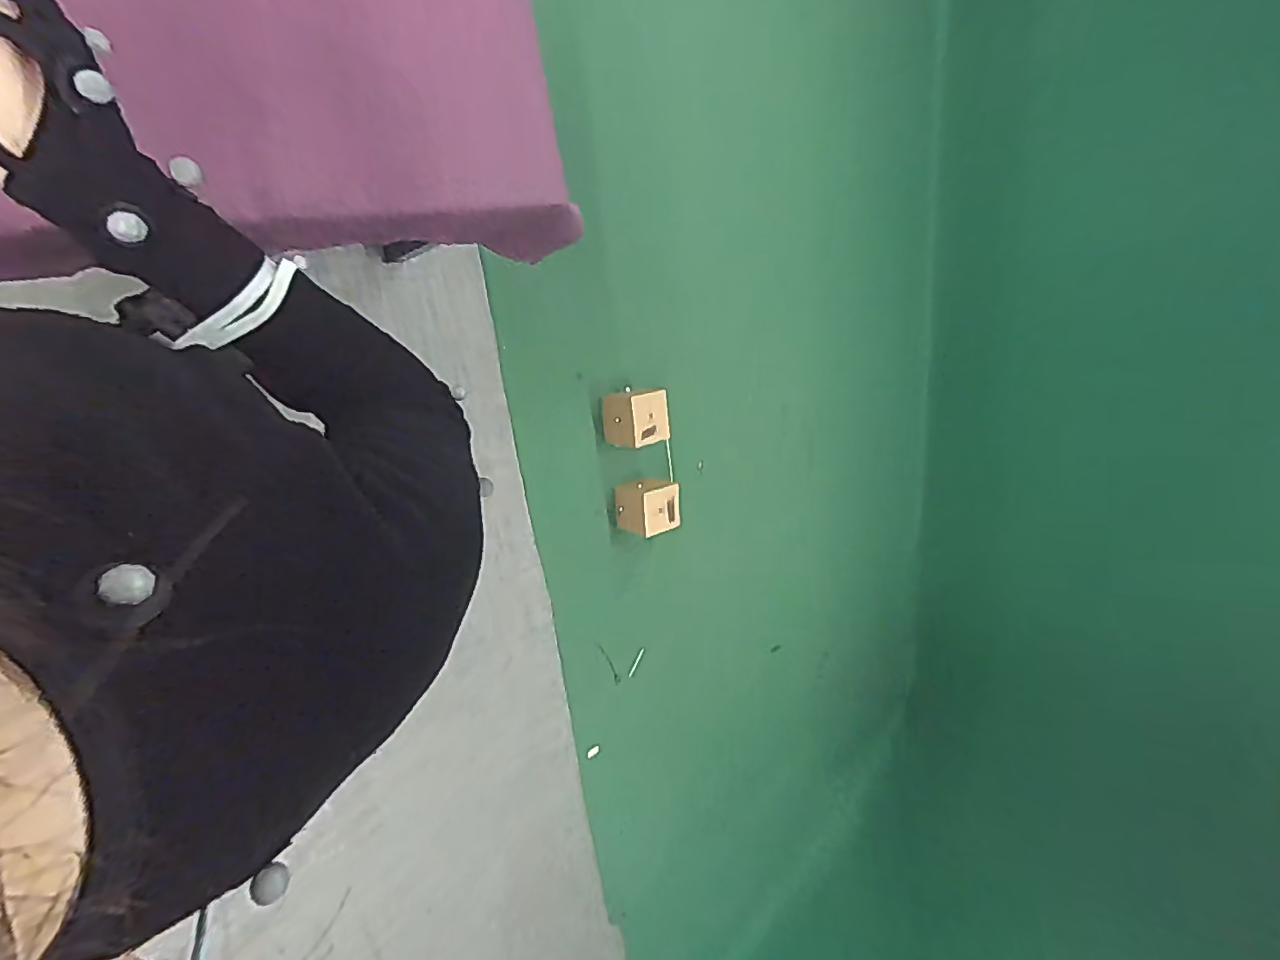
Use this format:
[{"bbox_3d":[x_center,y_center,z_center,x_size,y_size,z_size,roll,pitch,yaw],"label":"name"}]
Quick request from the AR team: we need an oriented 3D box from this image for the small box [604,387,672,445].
[{"bbox_3d":[-0.007,-0.231,1.909,0.168,0.176,0.179,-19,109,-38],"label":"small box"}]
